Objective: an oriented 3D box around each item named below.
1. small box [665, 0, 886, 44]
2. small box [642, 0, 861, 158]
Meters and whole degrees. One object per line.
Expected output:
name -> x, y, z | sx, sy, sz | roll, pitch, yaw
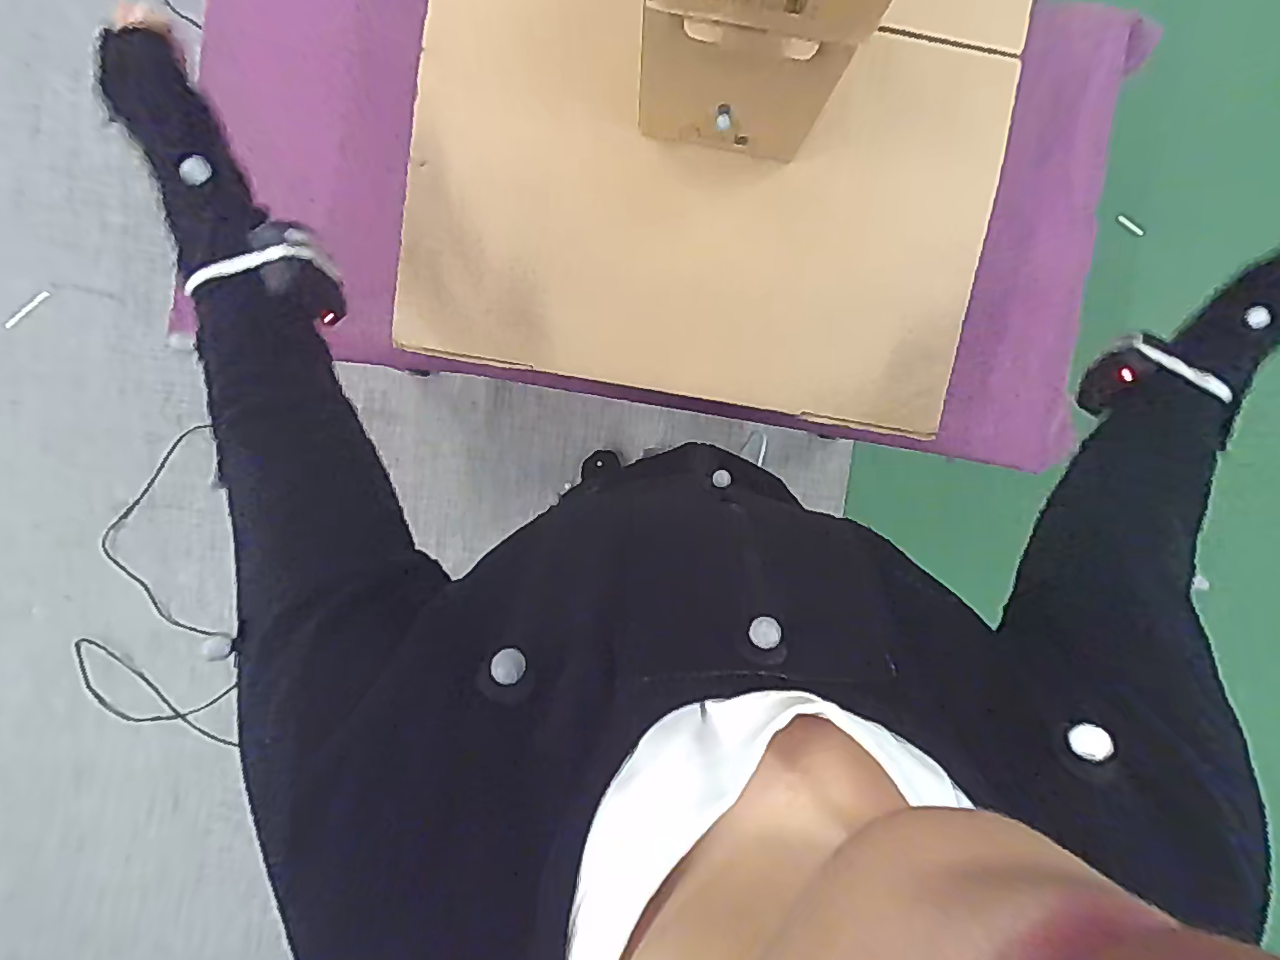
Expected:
small box -> 0.100, -0.412, 0.310 | 0.168, 0.176, 0.179 | 8, 93, -2
small box -> 0.096, -0.426, 0.472 | 0.168, 0.176, 0.179 | 10, 92, -2
